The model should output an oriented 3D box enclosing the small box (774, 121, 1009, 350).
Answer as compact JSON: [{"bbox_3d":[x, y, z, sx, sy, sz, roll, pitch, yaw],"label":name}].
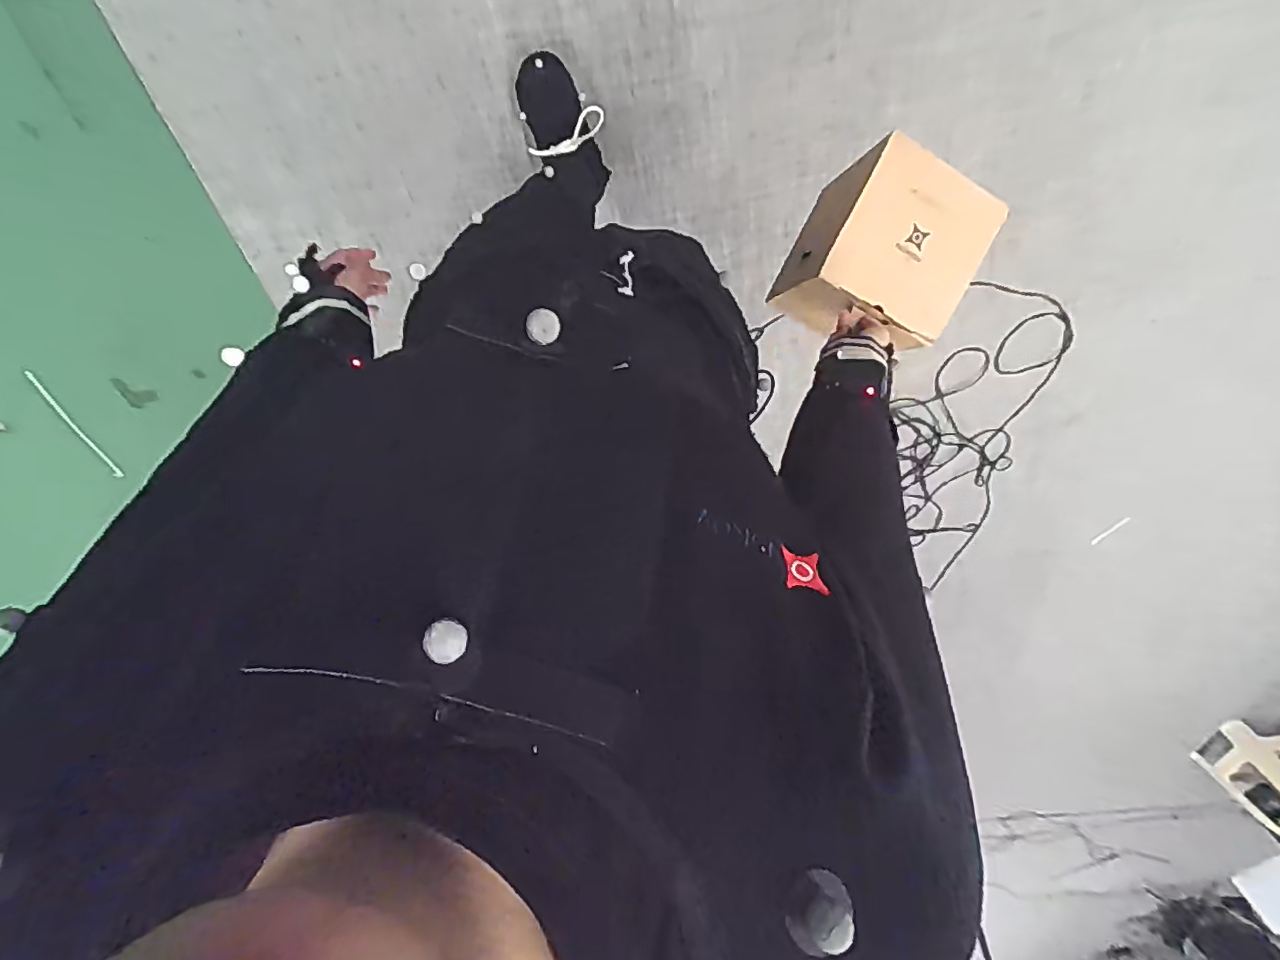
[{"bbox_3d":[0.288,-0.277,0.665,0.168,0.176,0.179,26,93,-11],"label":"small box"}]
